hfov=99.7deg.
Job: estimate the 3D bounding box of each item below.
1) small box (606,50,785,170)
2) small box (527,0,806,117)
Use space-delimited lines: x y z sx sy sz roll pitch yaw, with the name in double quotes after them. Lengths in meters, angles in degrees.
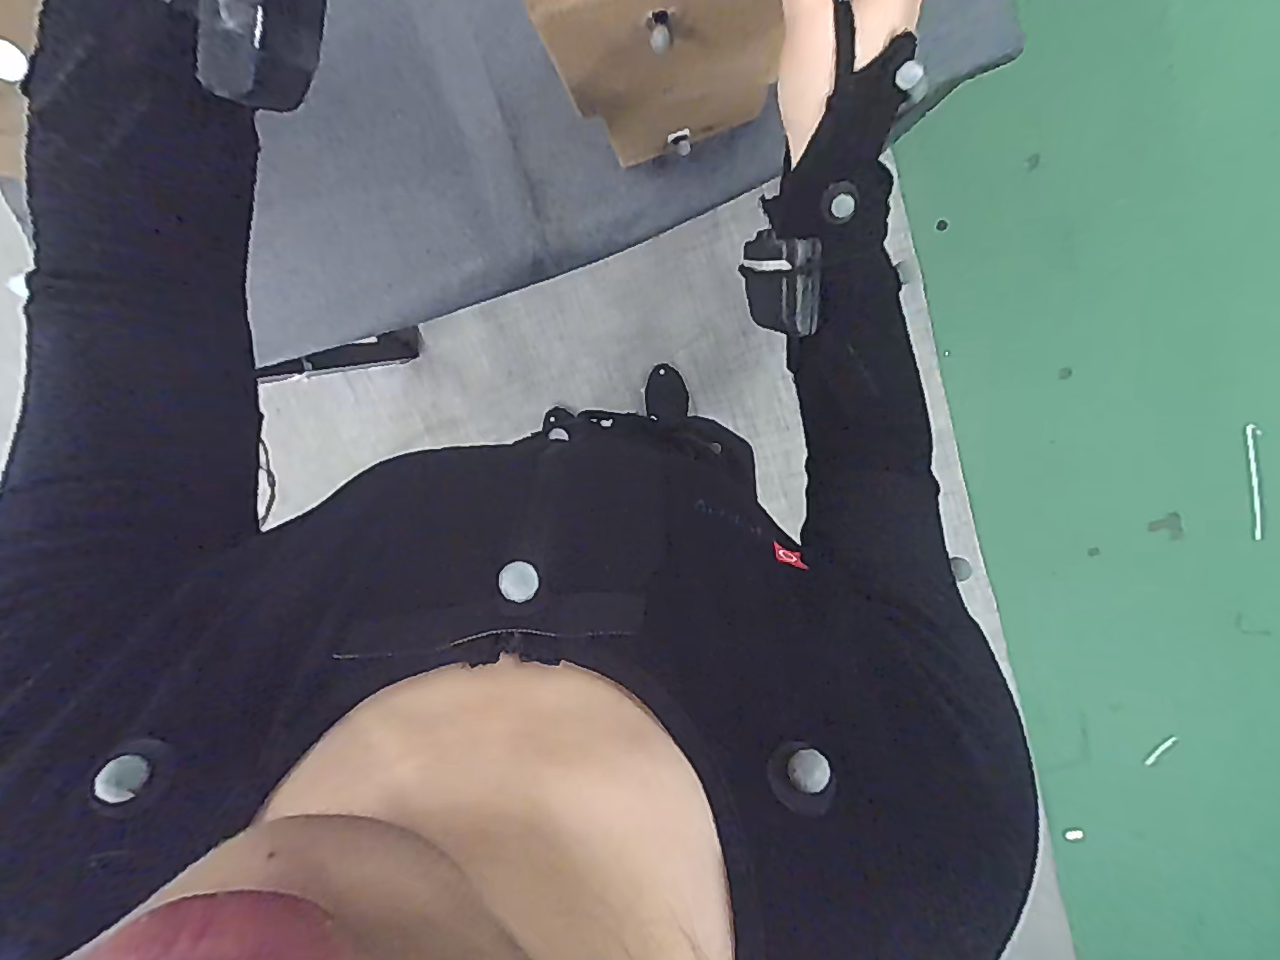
0.028 -0.440 0.525 0.168 0.176 0.179 -16 103 11 "small box"
0.017 -0.384 0.373 0.179 0.176 0.168 -5 104 9 "small box"
